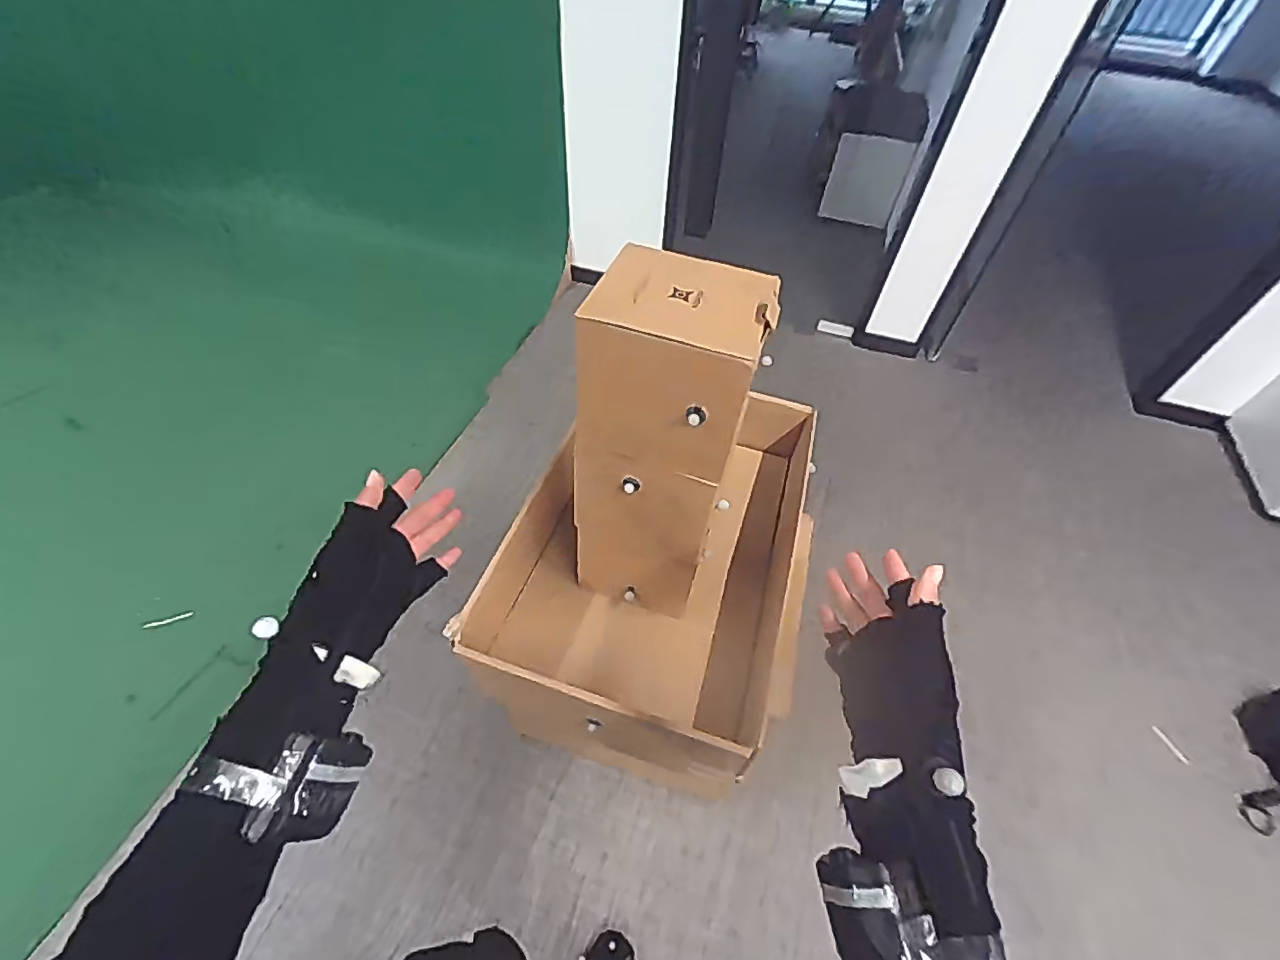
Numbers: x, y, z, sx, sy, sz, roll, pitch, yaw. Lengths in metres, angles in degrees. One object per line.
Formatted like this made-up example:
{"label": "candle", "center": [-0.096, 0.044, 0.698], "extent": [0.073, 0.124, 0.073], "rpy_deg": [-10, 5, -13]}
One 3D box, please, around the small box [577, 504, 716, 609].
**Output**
{"label": "small box", "center": [0.011, 0.079, 0.846], "extent": [0.179, 0.176, 0.168], "rpy_deg": [17, 49, 8]}

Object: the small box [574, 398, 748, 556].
{"label": "small box", "center": [0.024, -0.025, 0.720], "extent": [0.179, 0.176, 0.168], "rpy_deg": [19, 50, 9]}

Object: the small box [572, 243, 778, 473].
{"label": "small box", "center": [0.037, -0.130, 0.598], "extent": [0.179, 0.176, 0.168], "rpy_deg": [15, 48, 9]}
